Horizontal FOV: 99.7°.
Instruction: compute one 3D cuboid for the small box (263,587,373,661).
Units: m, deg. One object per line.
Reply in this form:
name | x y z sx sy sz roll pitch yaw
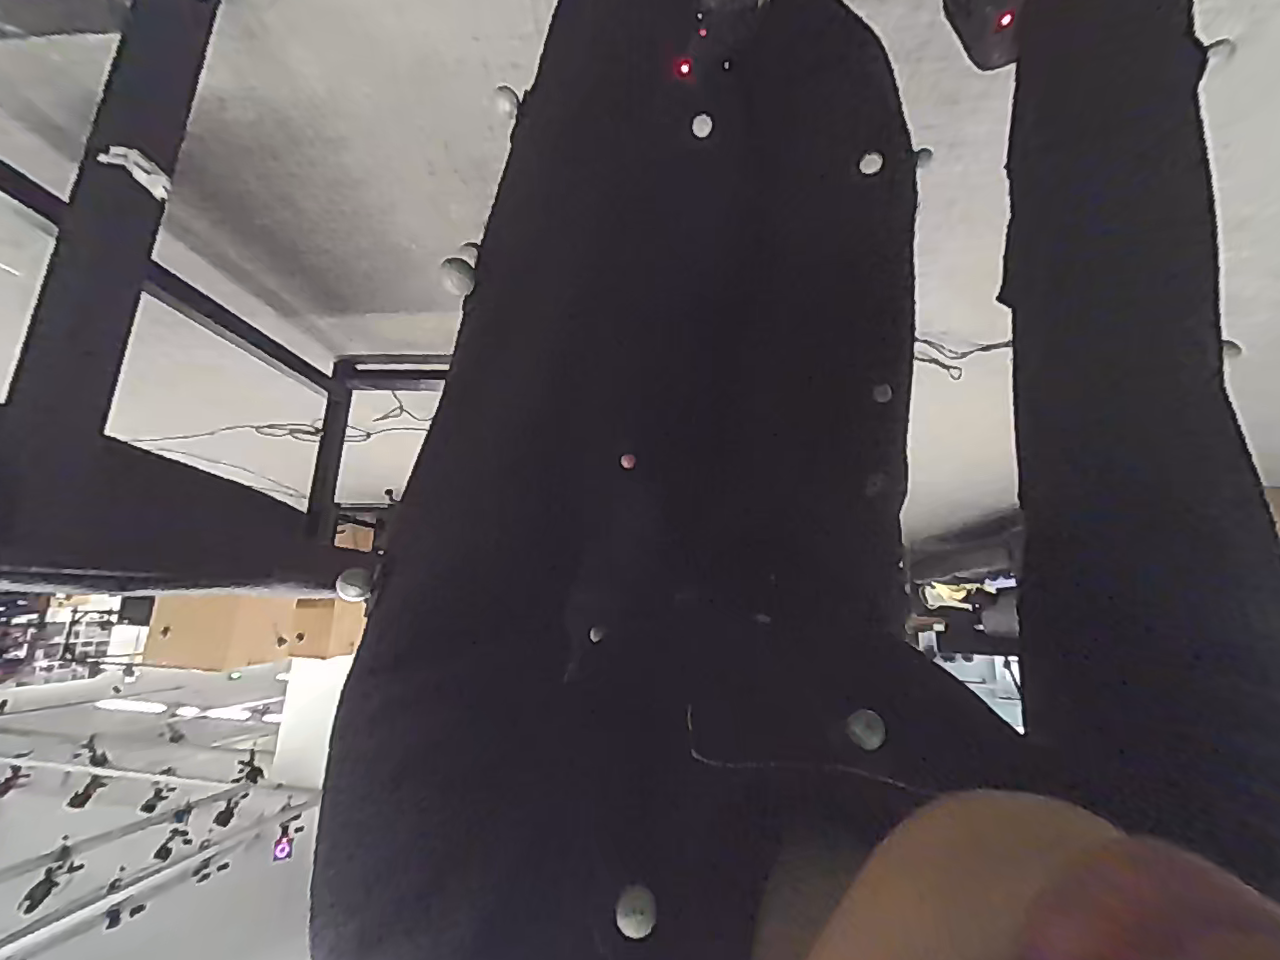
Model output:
small box | -0.804 0.359 1.370 0.179 0.176 0.168 2 166 5
